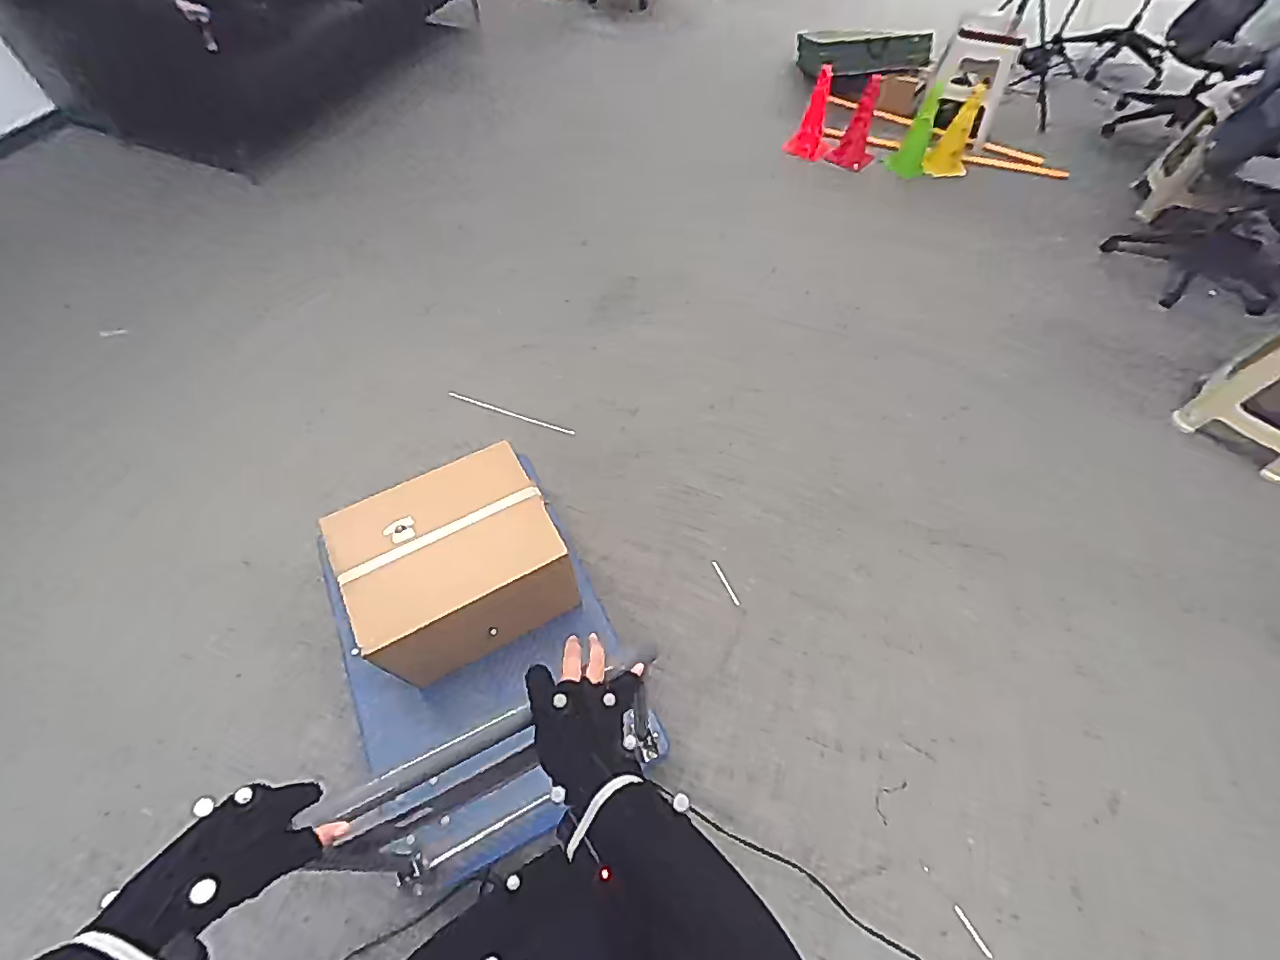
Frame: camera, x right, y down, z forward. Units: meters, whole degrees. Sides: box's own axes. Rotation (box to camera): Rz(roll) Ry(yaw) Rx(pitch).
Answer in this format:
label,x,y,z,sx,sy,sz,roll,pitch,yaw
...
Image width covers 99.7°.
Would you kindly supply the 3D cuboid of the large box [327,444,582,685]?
label,x,y,z,sx,sy,sz,roll,pitch,yaw
large box,-0.382,0.191,1.196,0.408,0.320,0.320,-26,62,-15
